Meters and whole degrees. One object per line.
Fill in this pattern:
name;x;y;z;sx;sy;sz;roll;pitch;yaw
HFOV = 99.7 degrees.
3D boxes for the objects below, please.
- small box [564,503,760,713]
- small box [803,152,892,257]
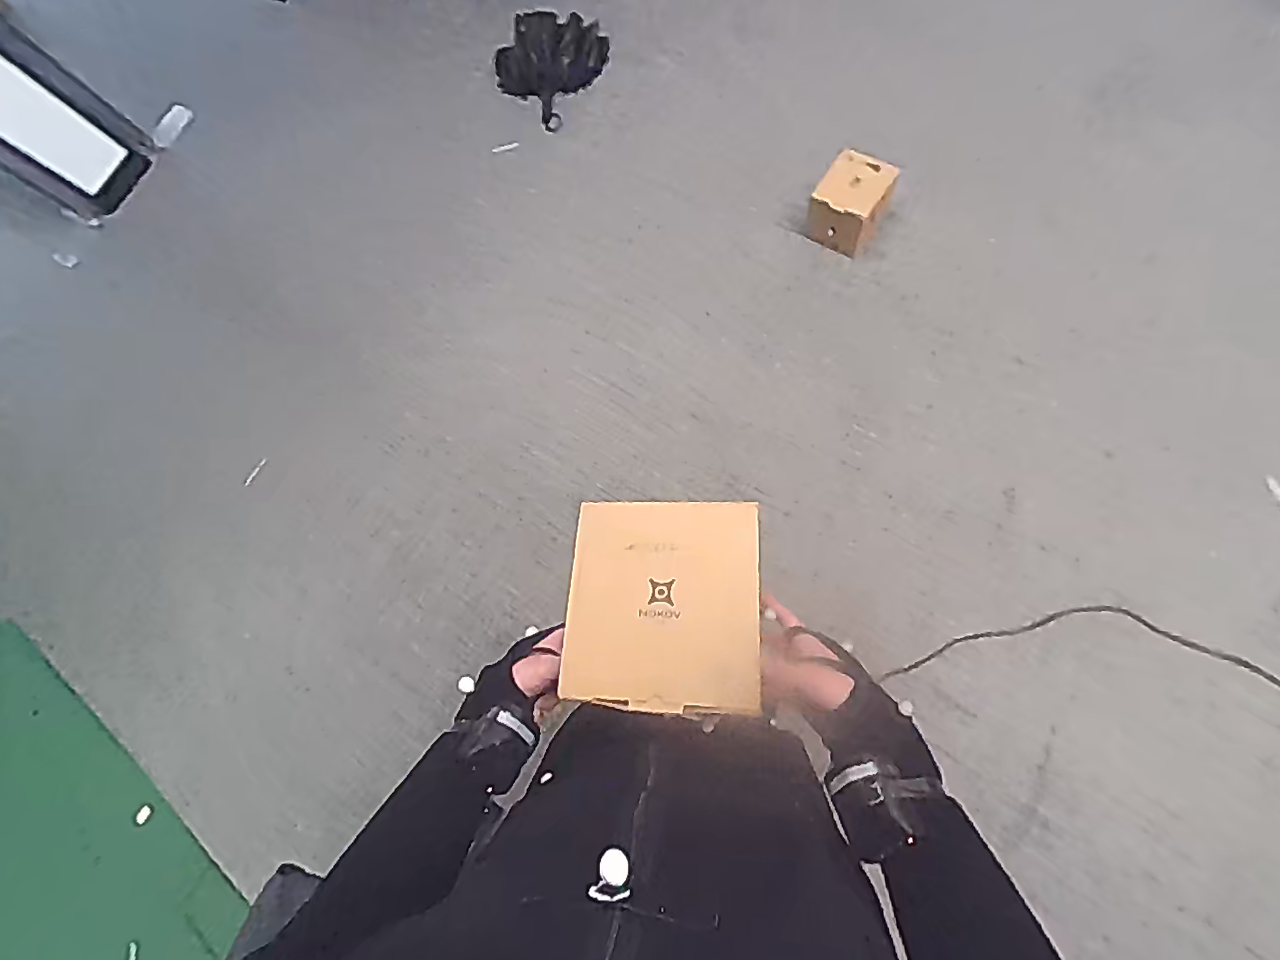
small box;0.035;0.133;0.540;0.168;0.176;0.179;0;65;10
small box;0.579;-0.772;1.535;0.168;0.176;0.179;34;85;17
